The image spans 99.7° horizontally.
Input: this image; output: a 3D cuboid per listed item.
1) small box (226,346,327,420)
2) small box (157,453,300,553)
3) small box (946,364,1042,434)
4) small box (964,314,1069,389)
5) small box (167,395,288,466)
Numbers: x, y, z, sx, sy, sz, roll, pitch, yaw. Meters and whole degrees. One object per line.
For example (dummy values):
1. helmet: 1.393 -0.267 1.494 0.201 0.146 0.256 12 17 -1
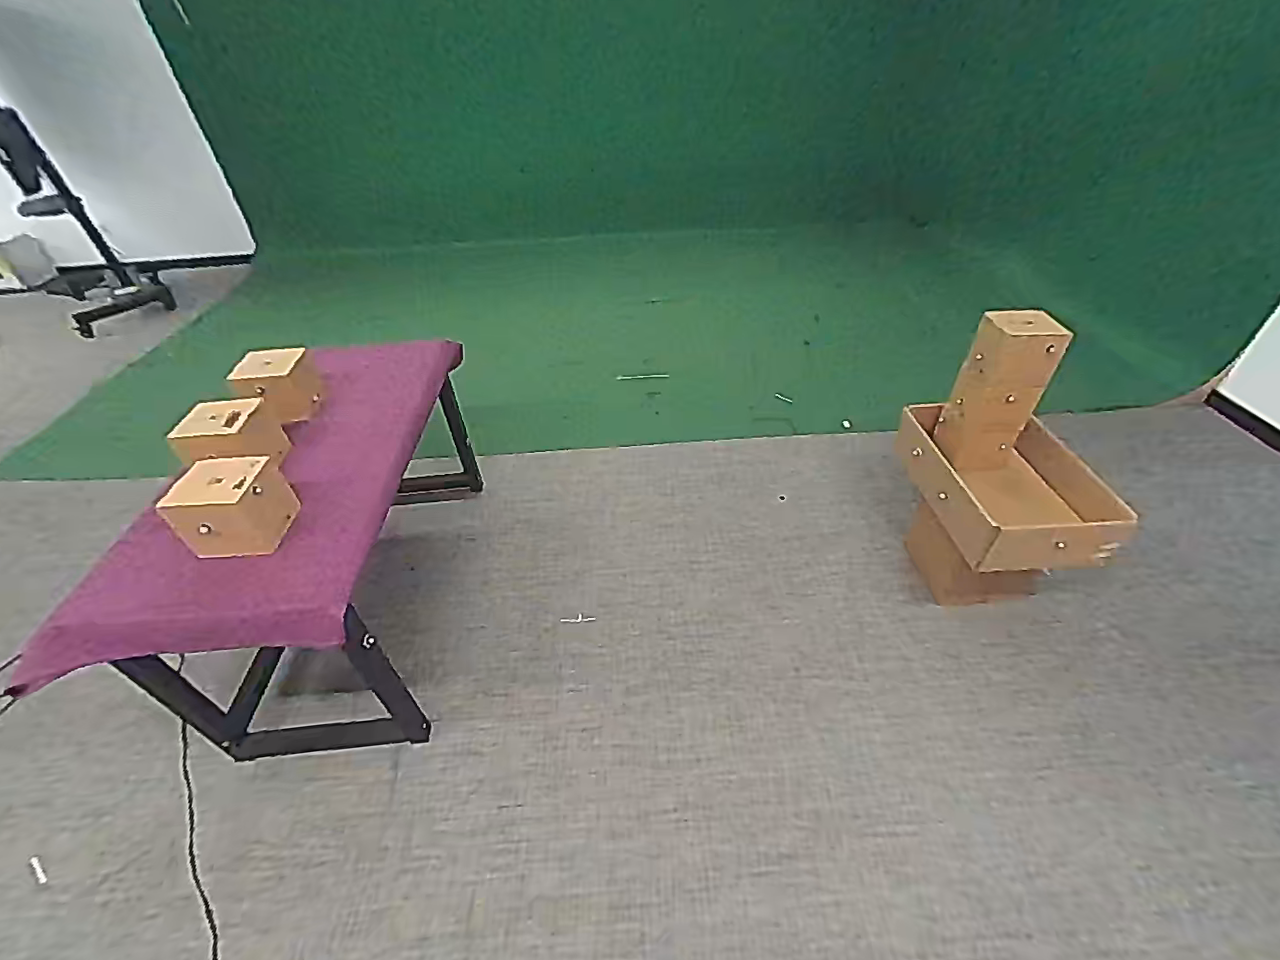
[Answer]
1. small box: -1.115 -0.296 1.674 0.179 0.176 0.168 -4 42 -3
2. small box: -0.948 0.056 1.265 0.179 0.176 0.168 -3 41 -1
3. small box: 1.130 -0.262 1.743 0.179 0.176 0.168 -1 40 1
4. small box: 1.128 -0.387 1.635 0.179 0.176 0.168 0 40 2
5. small box: -1.097 -0.109 1.460 0.179 0.176 0.168 -5 41 -2
